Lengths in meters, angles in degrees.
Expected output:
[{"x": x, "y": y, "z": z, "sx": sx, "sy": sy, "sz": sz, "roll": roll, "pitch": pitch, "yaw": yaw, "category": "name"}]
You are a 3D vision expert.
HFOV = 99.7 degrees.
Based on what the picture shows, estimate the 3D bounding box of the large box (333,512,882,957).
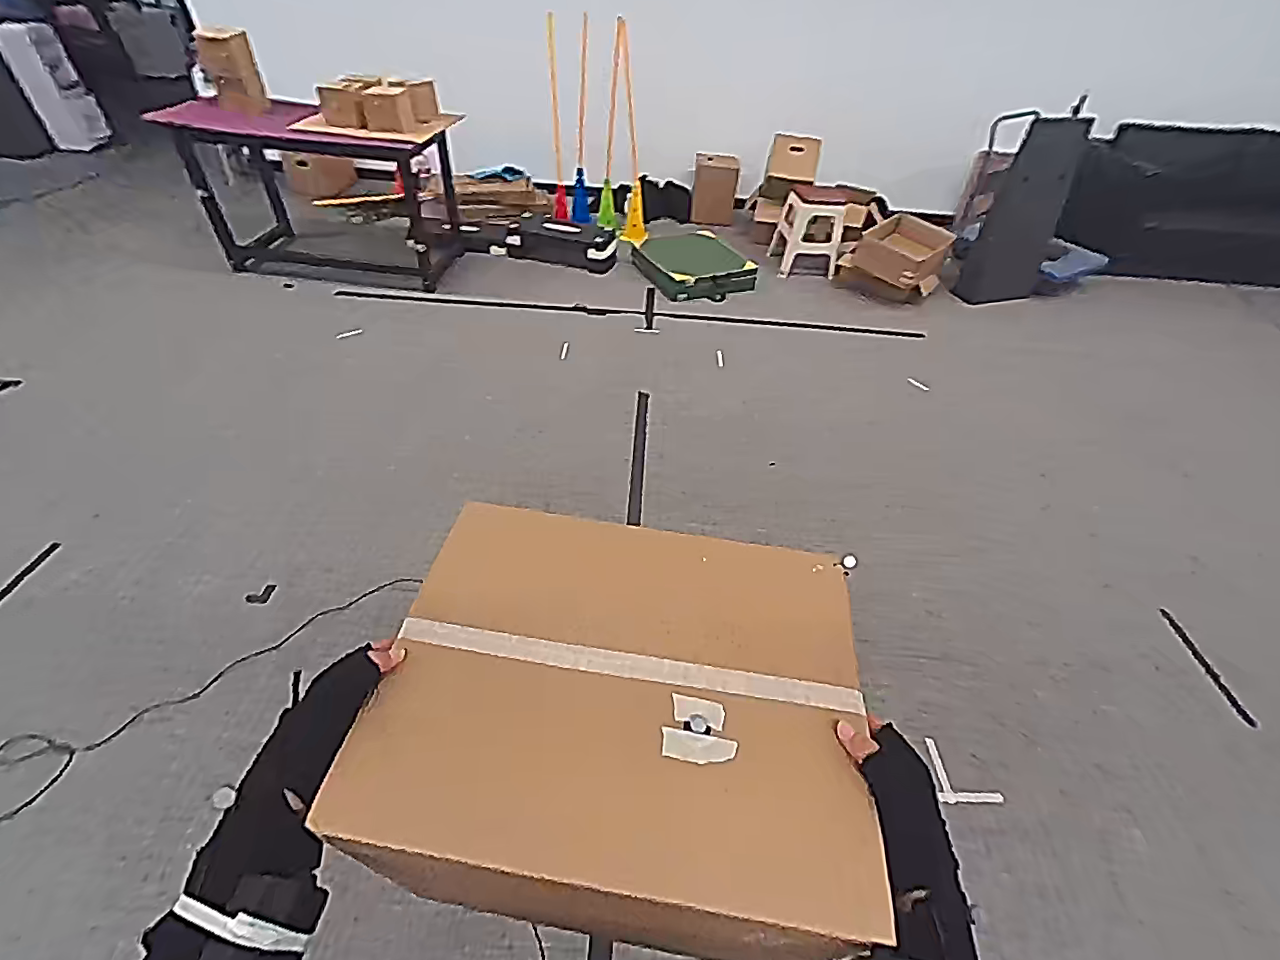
[{"x": -0.018, "y": 0.271, "z": 0.588, "sx": 0.408, "sy": 0.320, "sz": 0.320, "roll": 9, "pitch": 46, "yaw": 4, "category": "large box"}]
